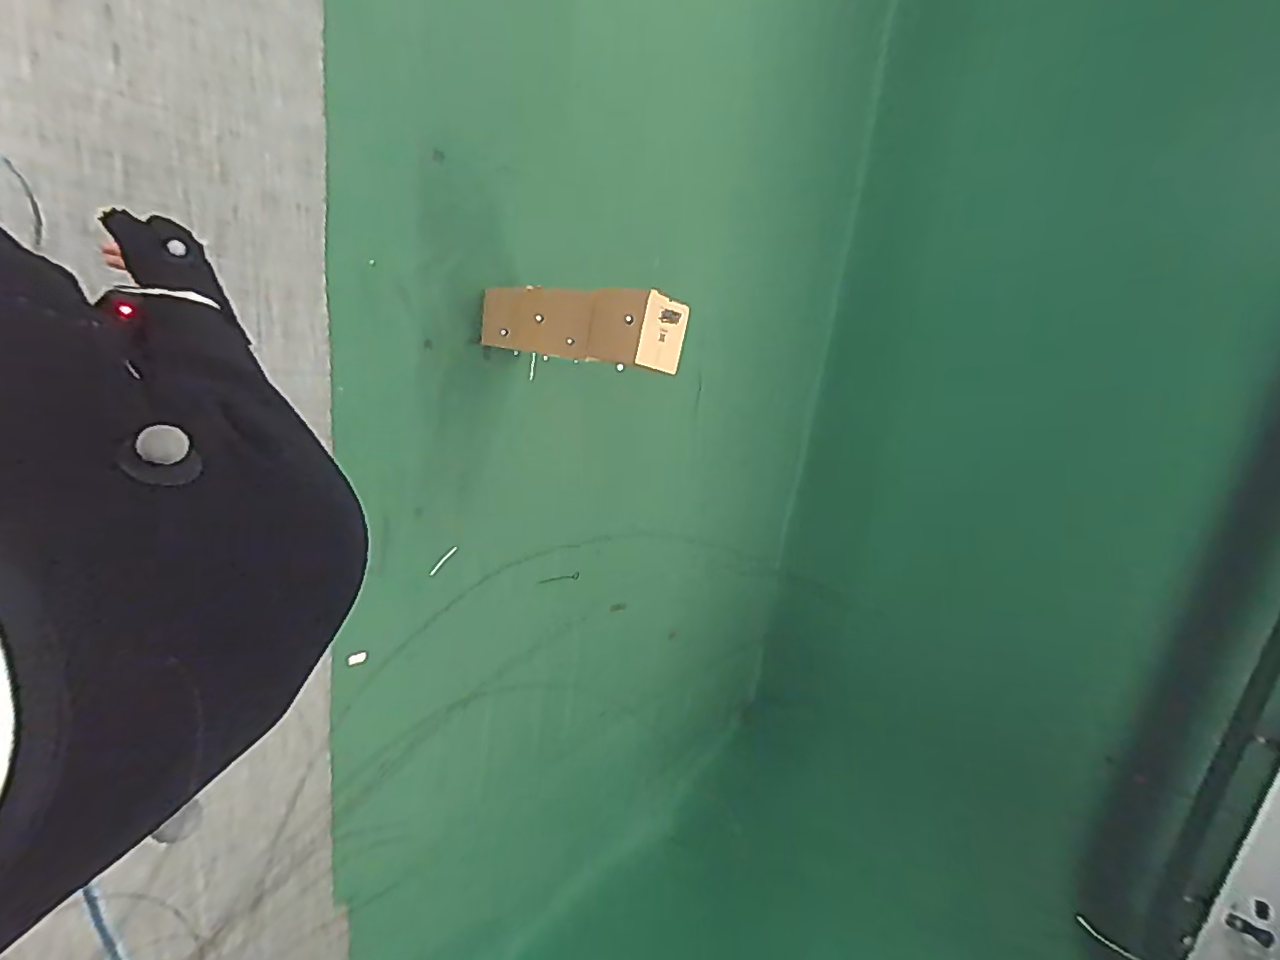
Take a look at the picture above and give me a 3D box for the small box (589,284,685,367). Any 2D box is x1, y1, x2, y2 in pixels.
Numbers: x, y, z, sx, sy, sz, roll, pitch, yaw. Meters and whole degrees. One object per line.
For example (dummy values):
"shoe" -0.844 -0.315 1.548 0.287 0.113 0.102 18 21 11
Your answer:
"small box" -0.011 -0.392 1.379 0.168 0.176 0.179 -4 106 -51

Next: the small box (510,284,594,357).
"small box" -0.261 -0.464 1.579 0.168 0.176 0.179 -6 109 -50

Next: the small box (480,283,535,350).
"small box" -0.380 -0.506 1.682 0.168 0.176 0.179 -7 110 -50
